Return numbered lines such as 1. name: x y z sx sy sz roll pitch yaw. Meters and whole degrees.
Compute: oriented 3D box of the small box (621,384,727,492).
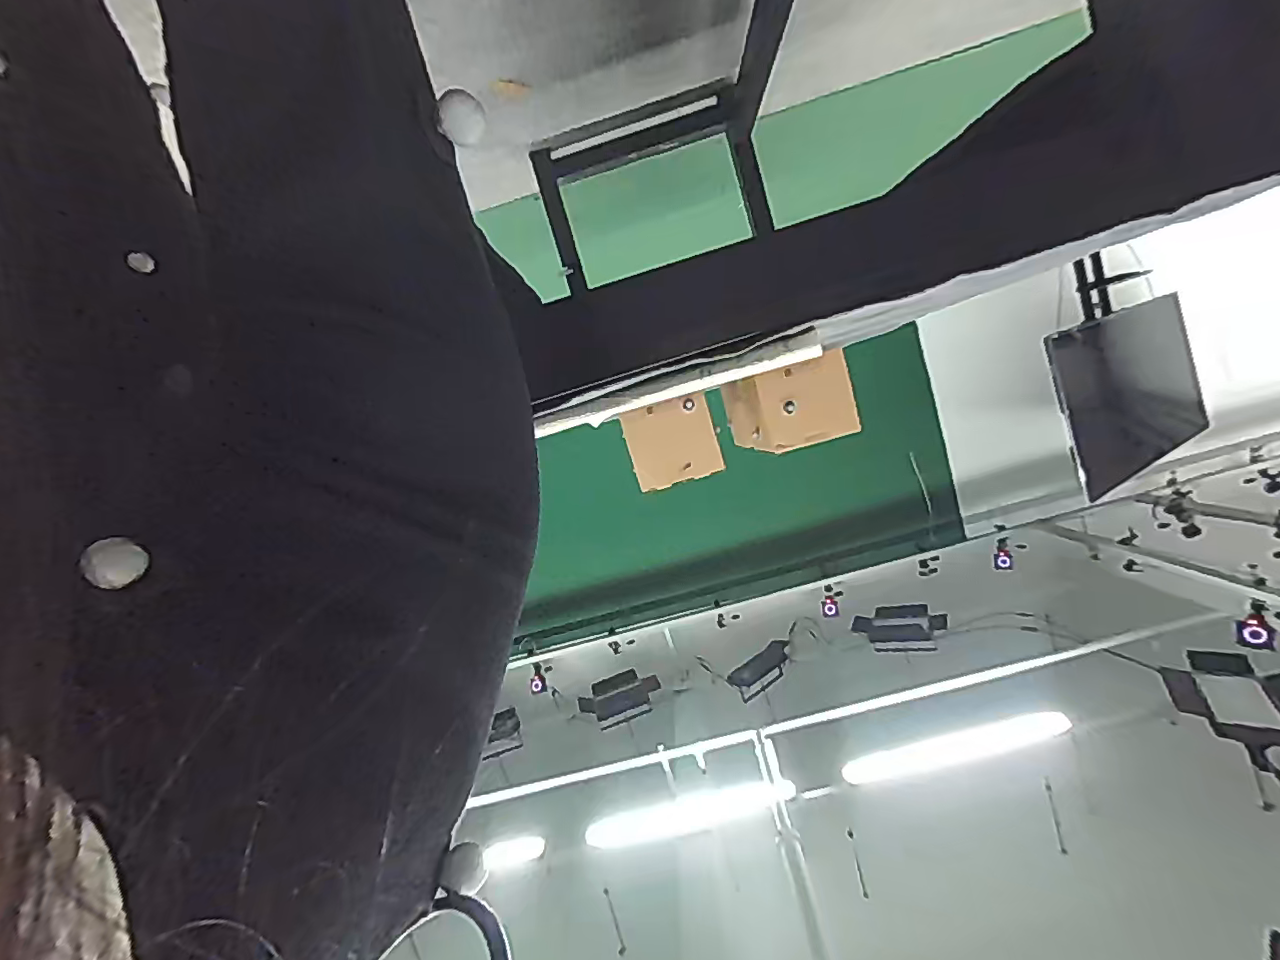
1. small box: 0.068 -0.090 1.084 0.168 0.176 0.179 -16 -173 7
